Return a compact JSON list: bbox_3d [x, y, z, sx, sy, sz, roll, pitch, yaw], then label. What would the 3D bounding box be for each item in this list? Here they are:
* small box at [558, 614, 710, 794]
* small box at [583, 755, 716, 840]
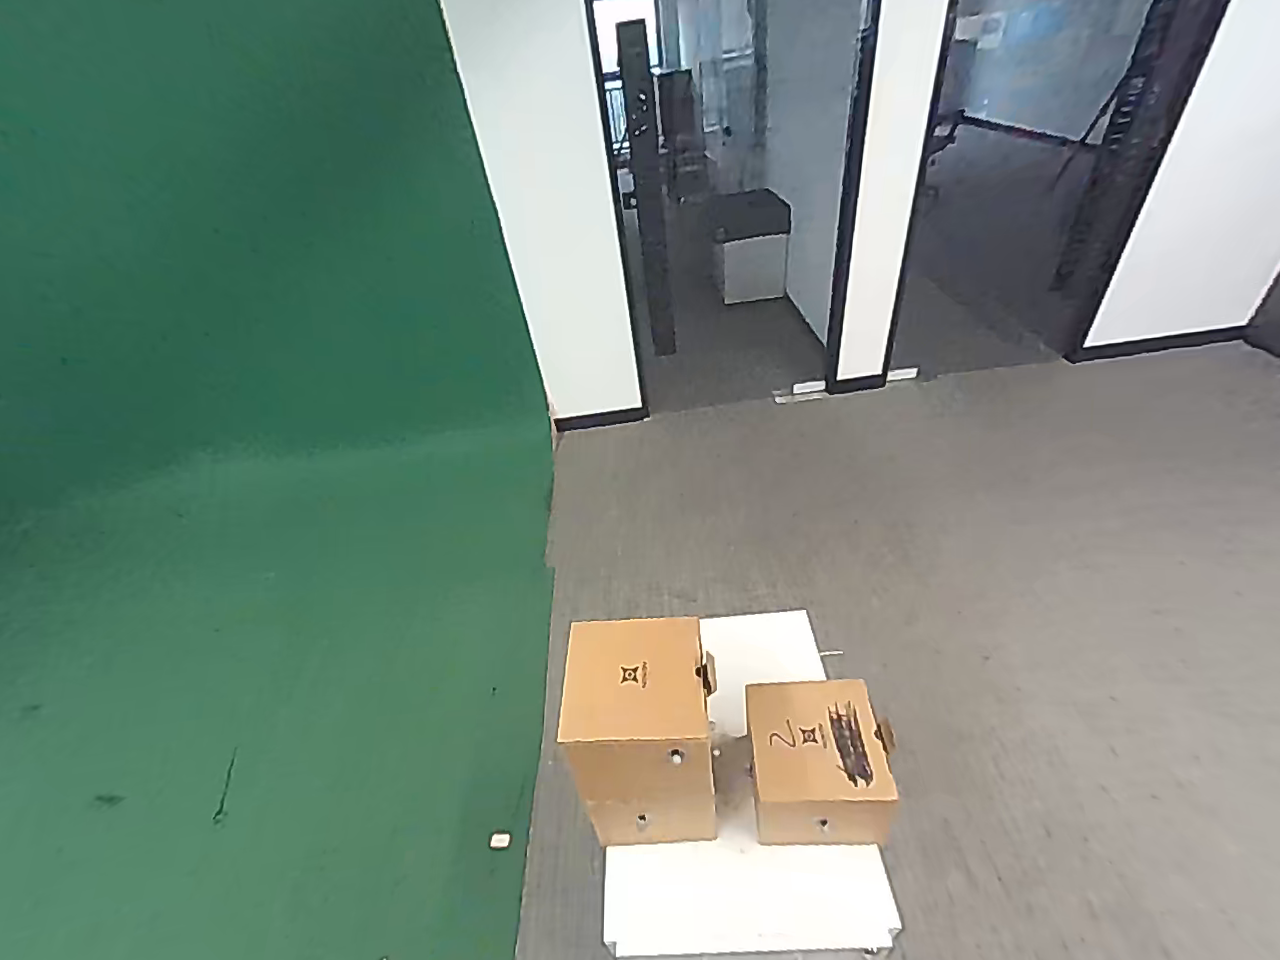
[{"bbox_3d":[0.000,0.300,0.723,0.179,0.176,0.168,-3,39,3],"label":"small box"},{"bbox_3d":[0.018,0.427,0.824,0.179,0.176,0.168,-5,39,3],"label":"small box"}]
